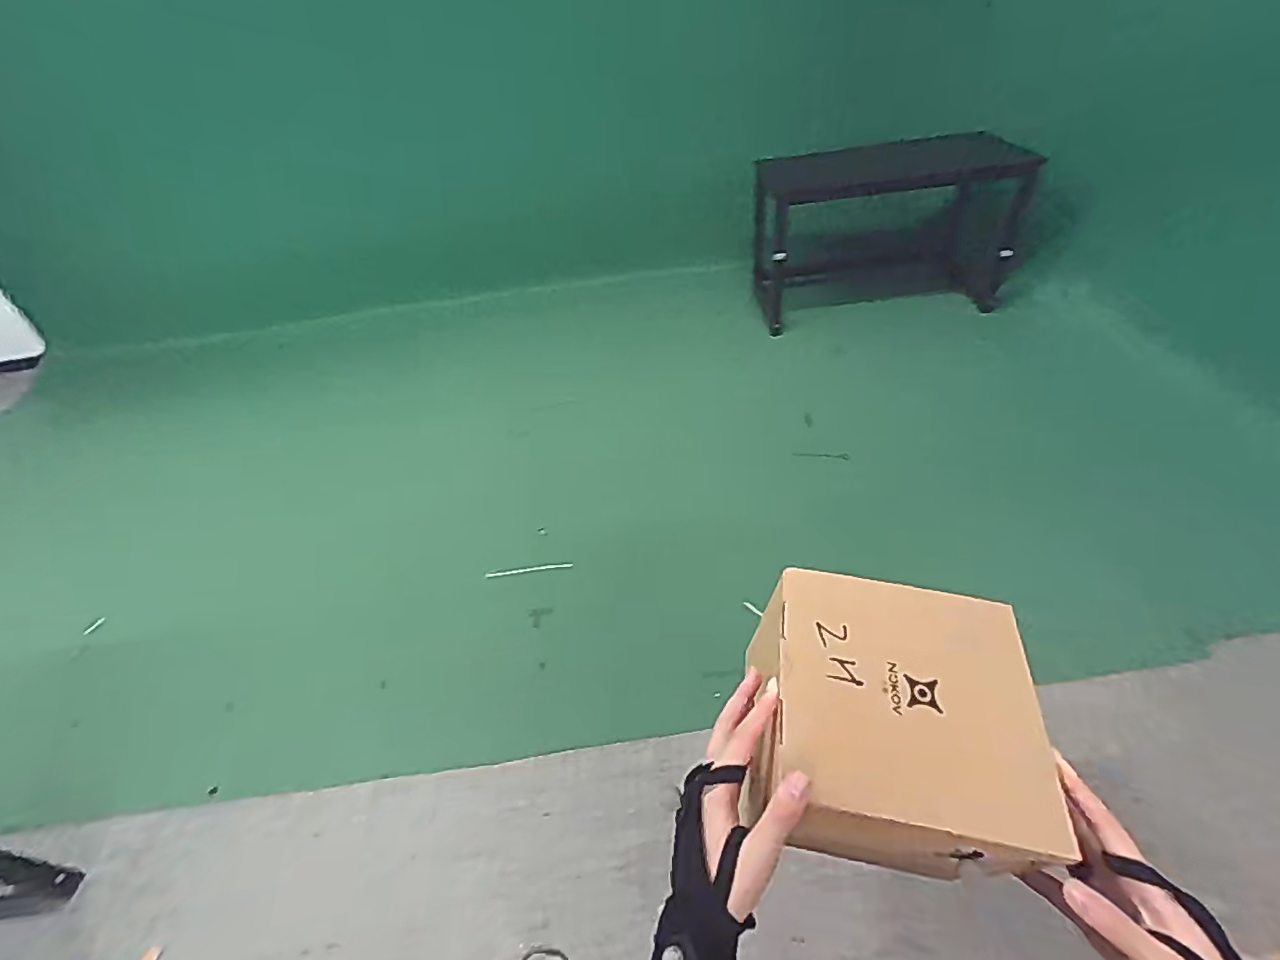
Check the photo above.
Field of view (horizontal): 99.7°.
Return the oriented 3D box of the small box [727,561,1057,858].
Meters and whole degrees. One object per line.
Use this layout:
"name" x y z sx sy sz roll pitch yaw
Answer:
"small box" 0.175 0.190 0.437 0.179 0.176 0.168 8 51 6
